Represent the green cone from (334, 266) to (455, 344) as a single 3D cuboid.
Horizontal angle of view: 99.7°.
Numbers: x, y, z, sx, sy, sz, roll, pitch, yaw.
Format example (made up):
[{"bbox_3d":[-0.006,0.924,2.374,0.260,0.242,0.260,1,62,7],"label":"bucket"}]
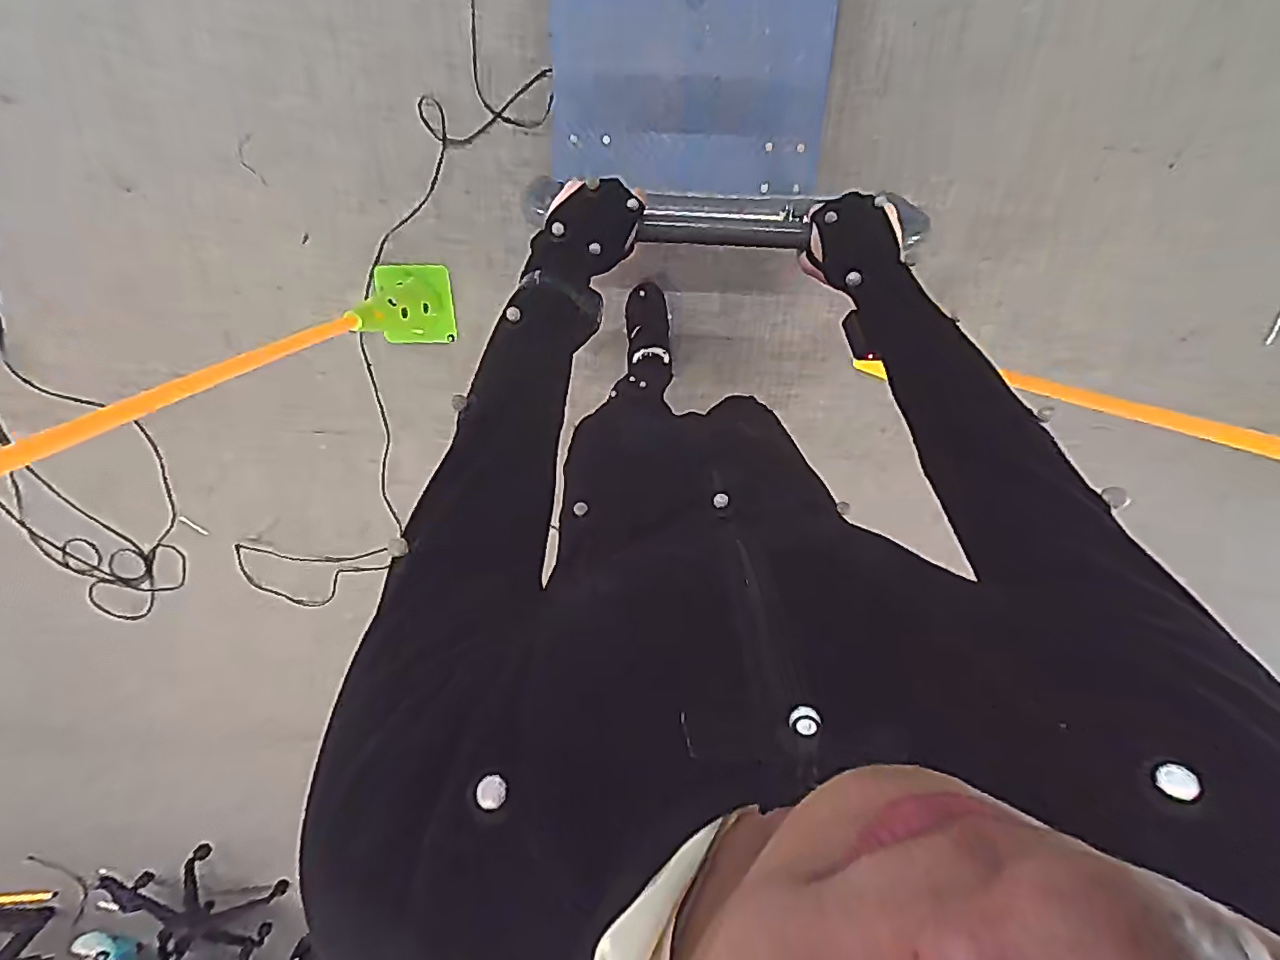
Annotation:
[{"bbox_3d":[-0.609,-0.400,1.291,0.202,0.368,0.200,0,113,2],"label":"green cone"}]
